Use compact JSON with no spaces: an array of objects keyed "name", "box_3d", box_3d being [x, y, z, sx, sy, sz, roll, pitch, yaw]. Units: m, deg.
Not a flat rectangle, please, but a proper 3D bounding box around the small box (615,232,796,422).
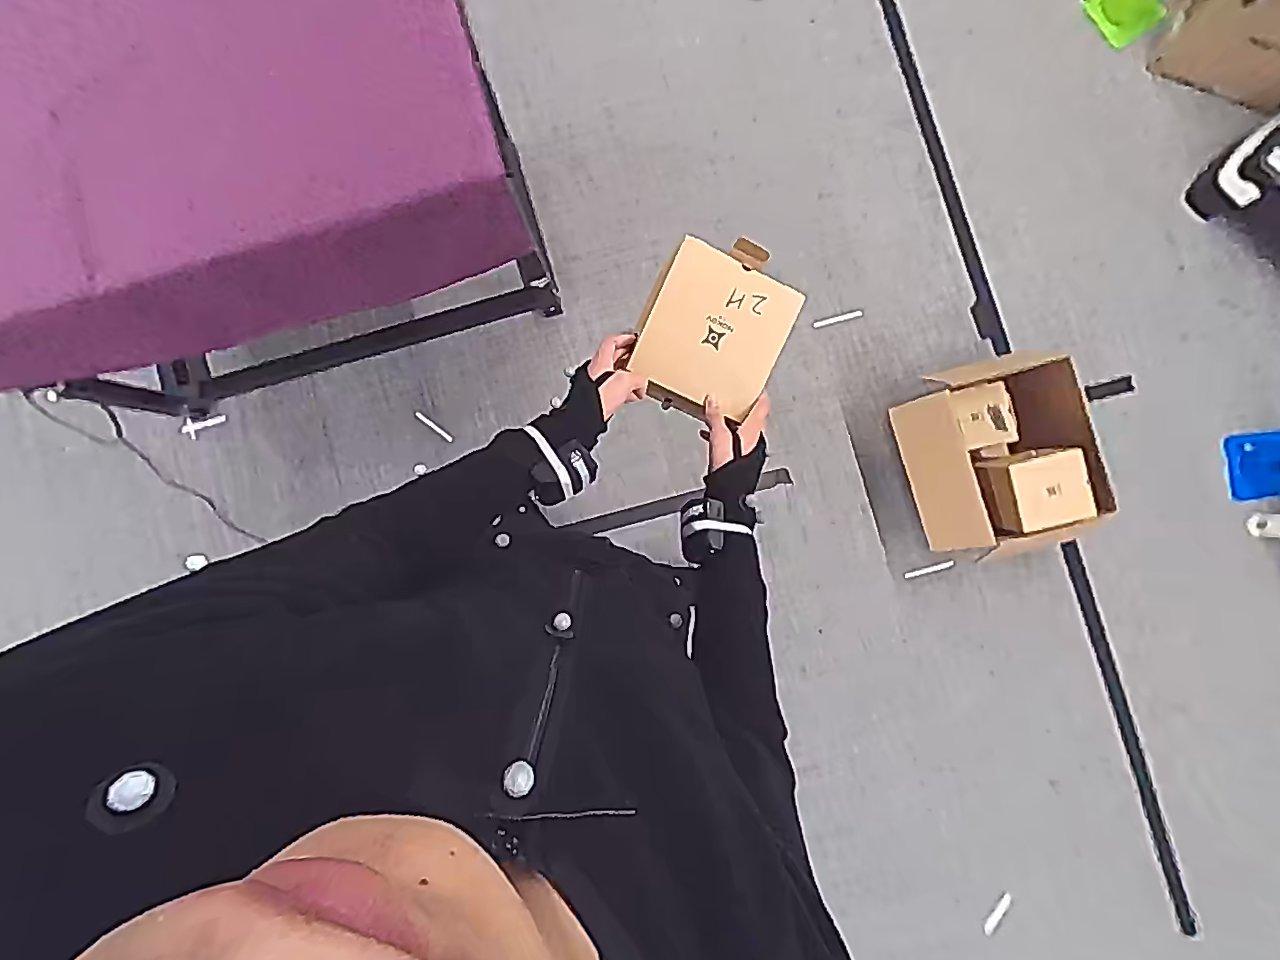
[{"name":"small box","box_3d":[0.074,-0.190,0.727,0.168,0.176,0.179,23,93,-10]}]
